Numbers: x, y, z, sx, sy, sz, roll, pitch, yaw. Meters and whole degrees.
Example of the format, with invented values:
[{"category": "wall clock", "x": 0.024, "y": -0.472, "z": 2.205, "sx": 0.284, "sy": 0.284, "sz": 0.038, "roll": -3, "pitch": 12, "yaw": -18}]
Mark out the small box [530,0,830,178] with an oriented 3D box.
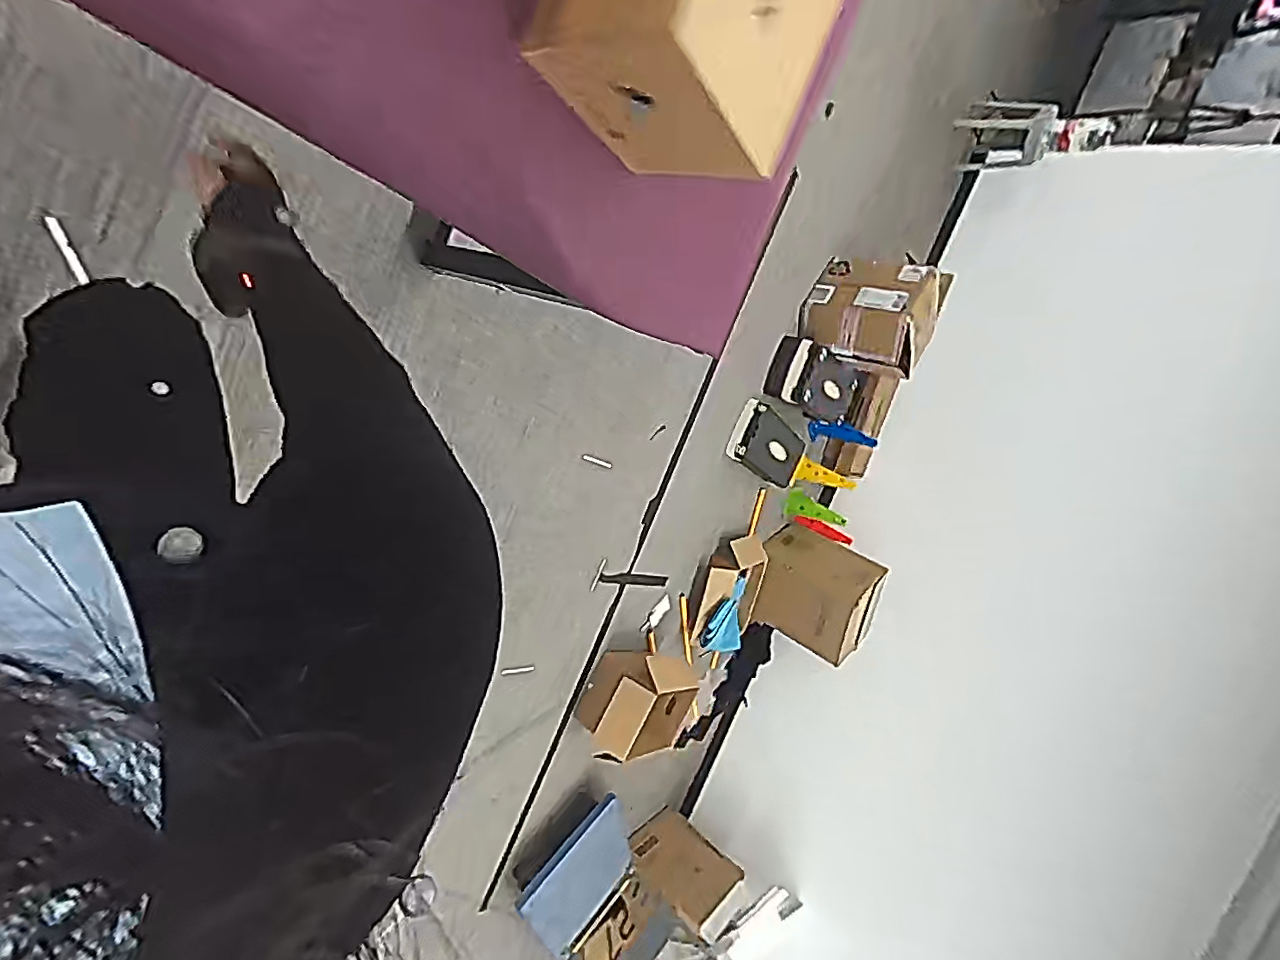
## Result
[{"category": "small box", "x": 0.032, "y": -0.392, "z": 0.465, "sx": 0.168, "sy": 0.176, "sz": 0.179, "roll": 15, "pitch": 98, "yaw": -55}]
